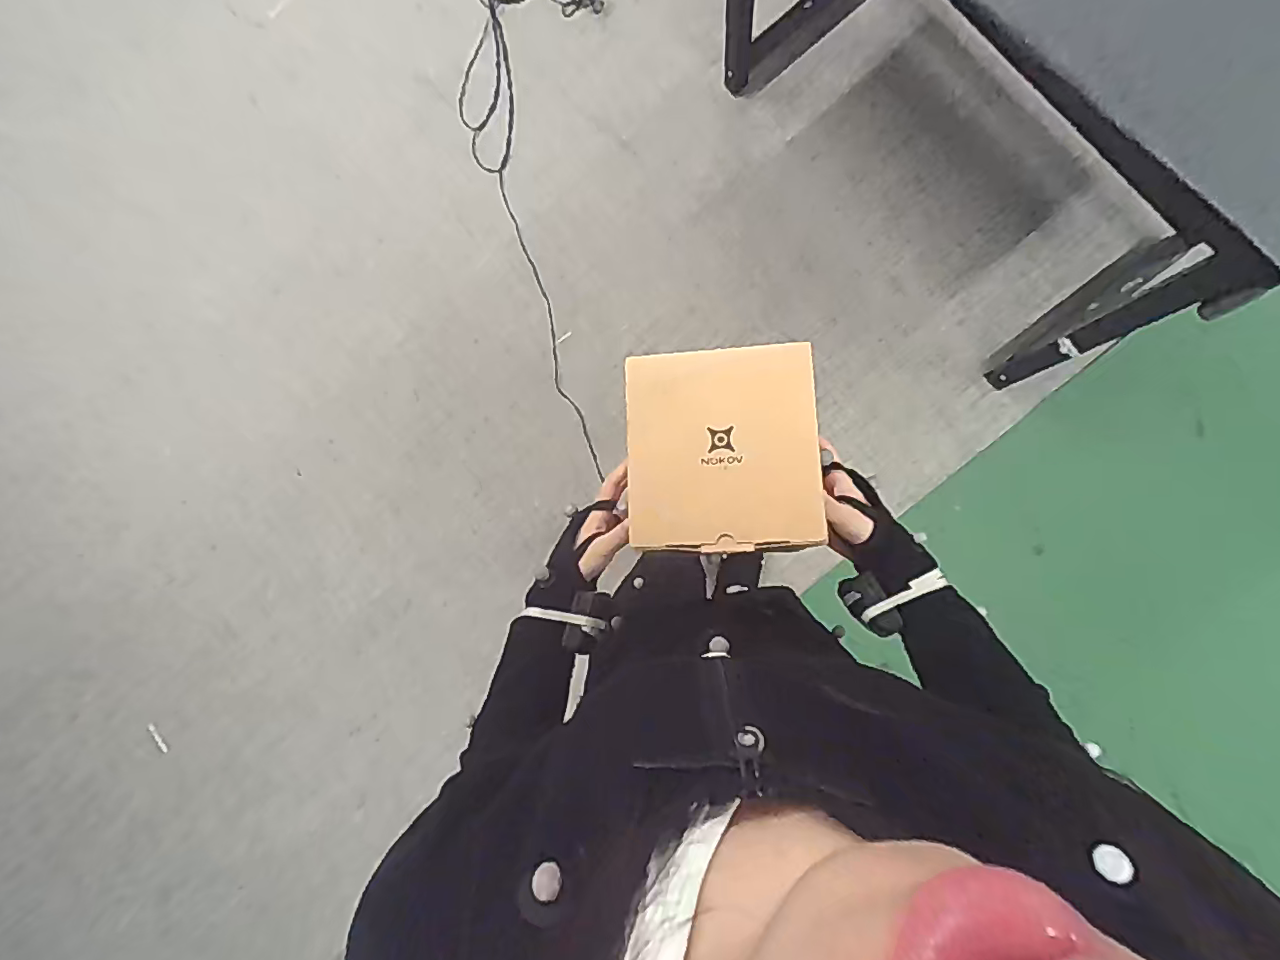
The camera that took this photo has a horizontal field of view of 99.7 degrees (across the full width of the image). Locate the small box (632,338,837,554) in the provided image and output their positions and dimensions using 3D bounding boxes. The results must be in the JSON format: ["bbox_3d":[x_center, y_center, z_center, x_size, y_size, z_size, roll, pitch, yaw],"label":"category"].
[{"bbox_3d":[0.082,-0.020,0.532,0.168,0.176,0.179,-3,81,5],"label":"small box"}]
